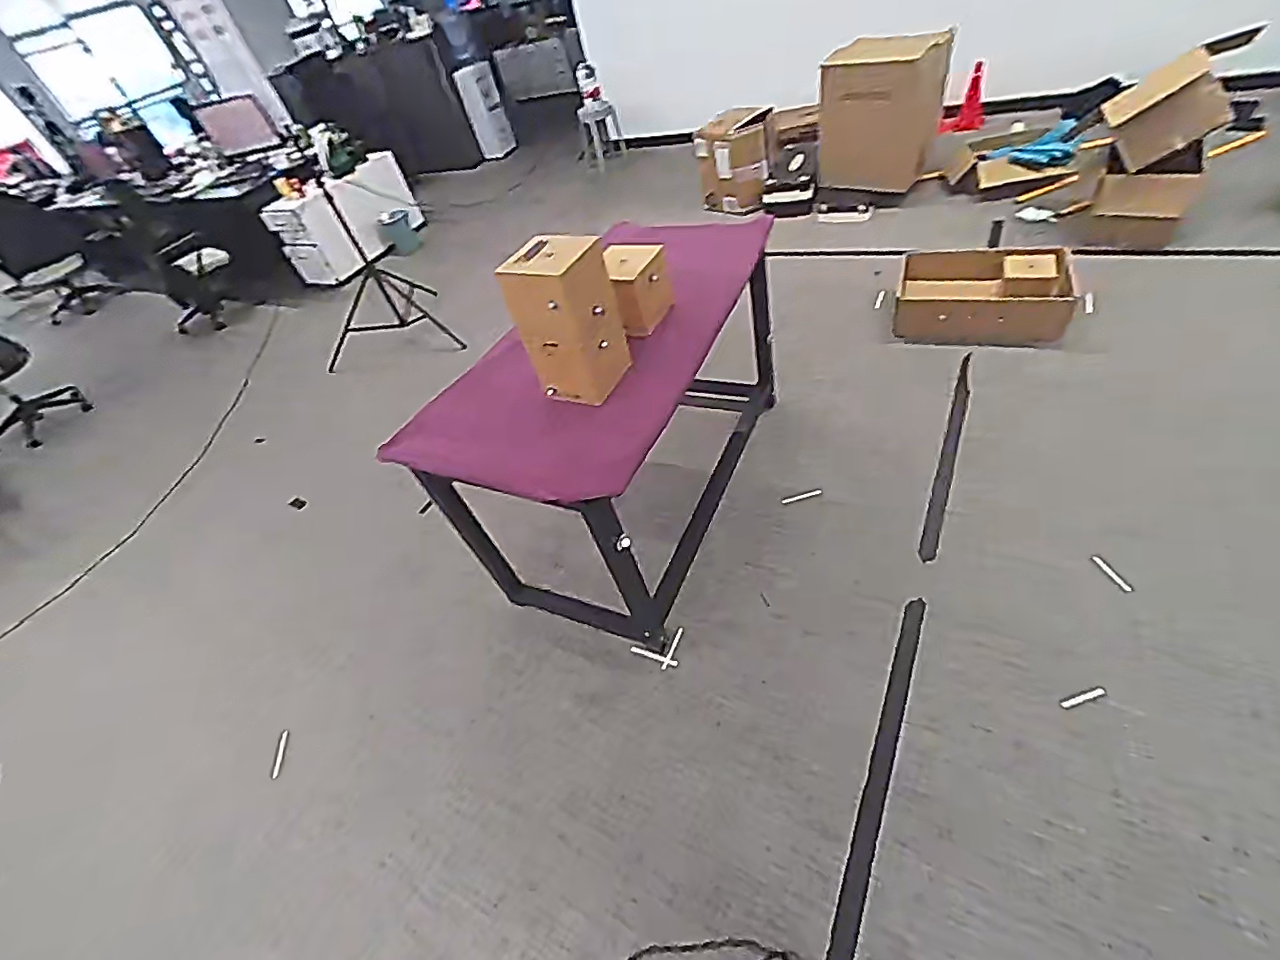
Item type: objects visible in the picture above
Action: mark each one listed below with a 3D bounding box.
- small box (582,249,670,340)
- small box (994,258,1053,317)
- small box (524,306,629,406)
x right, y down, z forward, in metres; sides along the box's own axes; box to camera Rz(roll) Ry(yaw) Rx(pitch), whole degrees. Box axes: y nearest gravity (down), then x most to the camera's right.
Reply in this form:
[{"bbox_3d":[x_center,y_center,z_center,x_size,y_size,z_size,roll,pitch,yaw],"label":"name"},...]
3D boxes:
[{"bbox_3d":[-0.028,-0.507,1.476,0.168,0.176,0.179,13,53,27],"label":"small box"},{"bbox_3d":[1.550,-0.776,2.190,0.168,0.176,0.179,9,51,24],"label":"small box"},{"bbox_3d":[-0.144,-0.302,1.316,0.168,0.176,0.179,12,52,26],"label":"small box"}]
